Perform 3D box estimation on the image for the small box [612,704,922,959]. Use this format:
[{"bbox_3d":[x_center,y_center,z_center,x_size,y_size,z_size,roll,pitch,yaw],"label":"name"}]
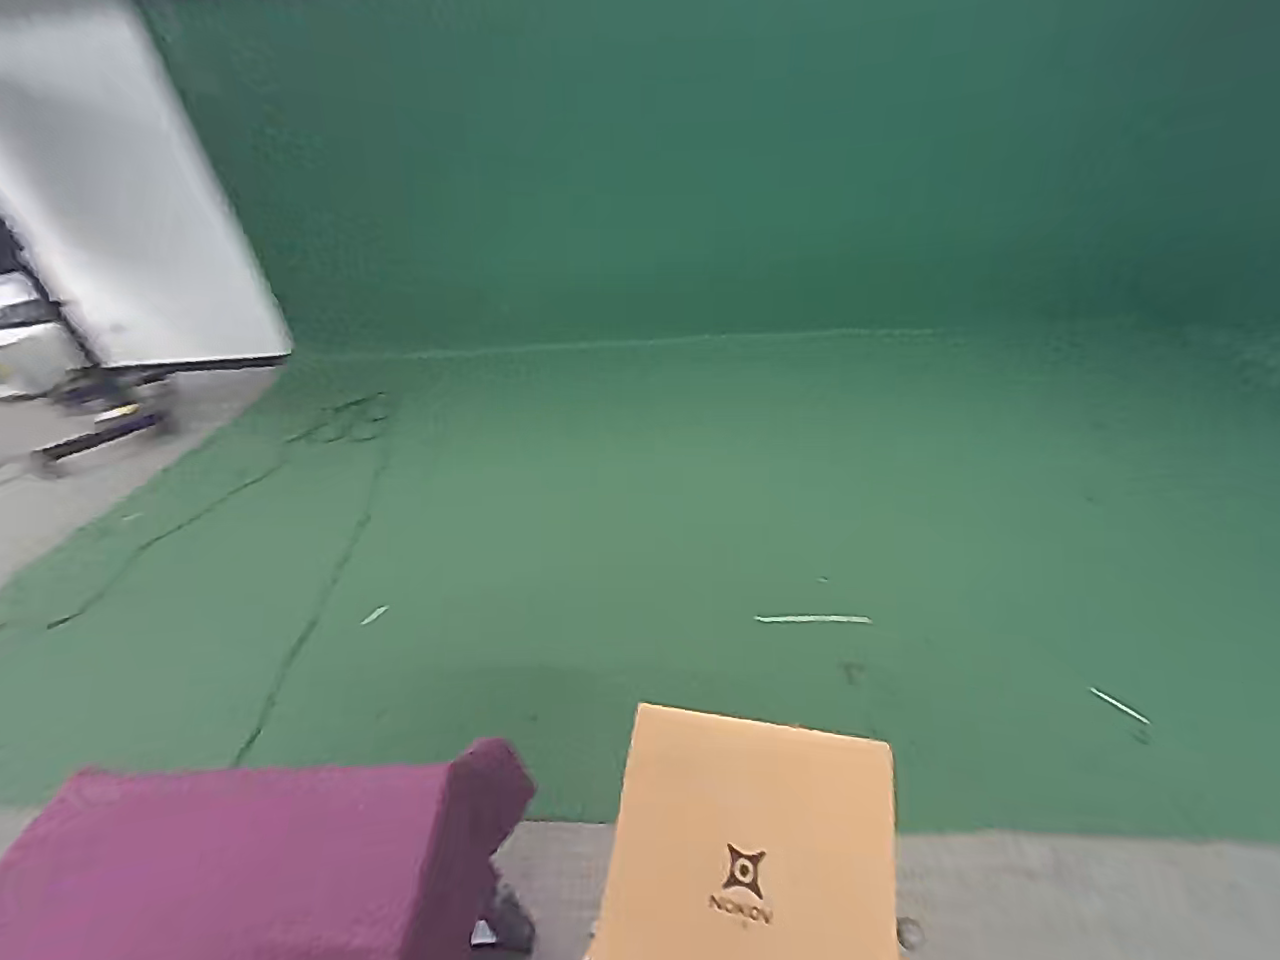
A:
[{"bbox_3d":[0.093,0.276,0.378,0.168,0.176,0.179,1,60,20],"label":"small box"}]
